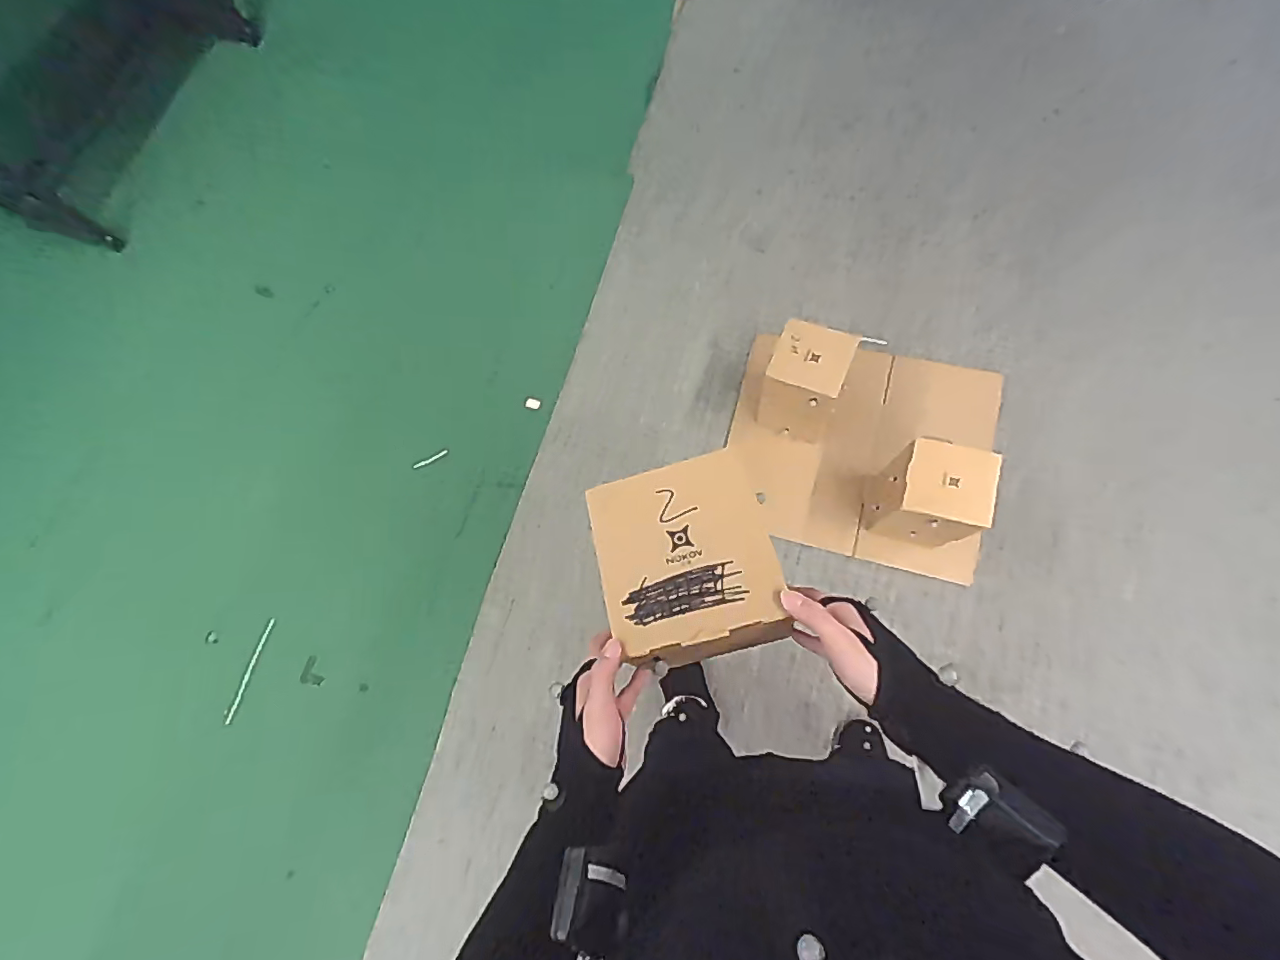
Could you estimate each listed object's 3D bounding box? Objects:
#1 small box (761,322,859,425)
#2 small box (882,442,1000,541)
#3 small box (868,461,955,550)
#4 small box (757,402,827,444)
[{"bbox_3d":[0.412,-0.255,1.336,0.179,0.176,0.168,22,78,15],"label":"small box"},{"bbox_3d":[0.669,0.032,1.217,0.179,0.176,0.168,14,77,14],"label":"small box"},{"bbox_3d":[0.697,0.070,1.371,0.179,0.176,0.168,15,77,14],"label":"small box"},{"bbox_3d":[0.438,-0.215,1.496,0.179,0.176,0.168,22,78,15],"label":"small box"}]
